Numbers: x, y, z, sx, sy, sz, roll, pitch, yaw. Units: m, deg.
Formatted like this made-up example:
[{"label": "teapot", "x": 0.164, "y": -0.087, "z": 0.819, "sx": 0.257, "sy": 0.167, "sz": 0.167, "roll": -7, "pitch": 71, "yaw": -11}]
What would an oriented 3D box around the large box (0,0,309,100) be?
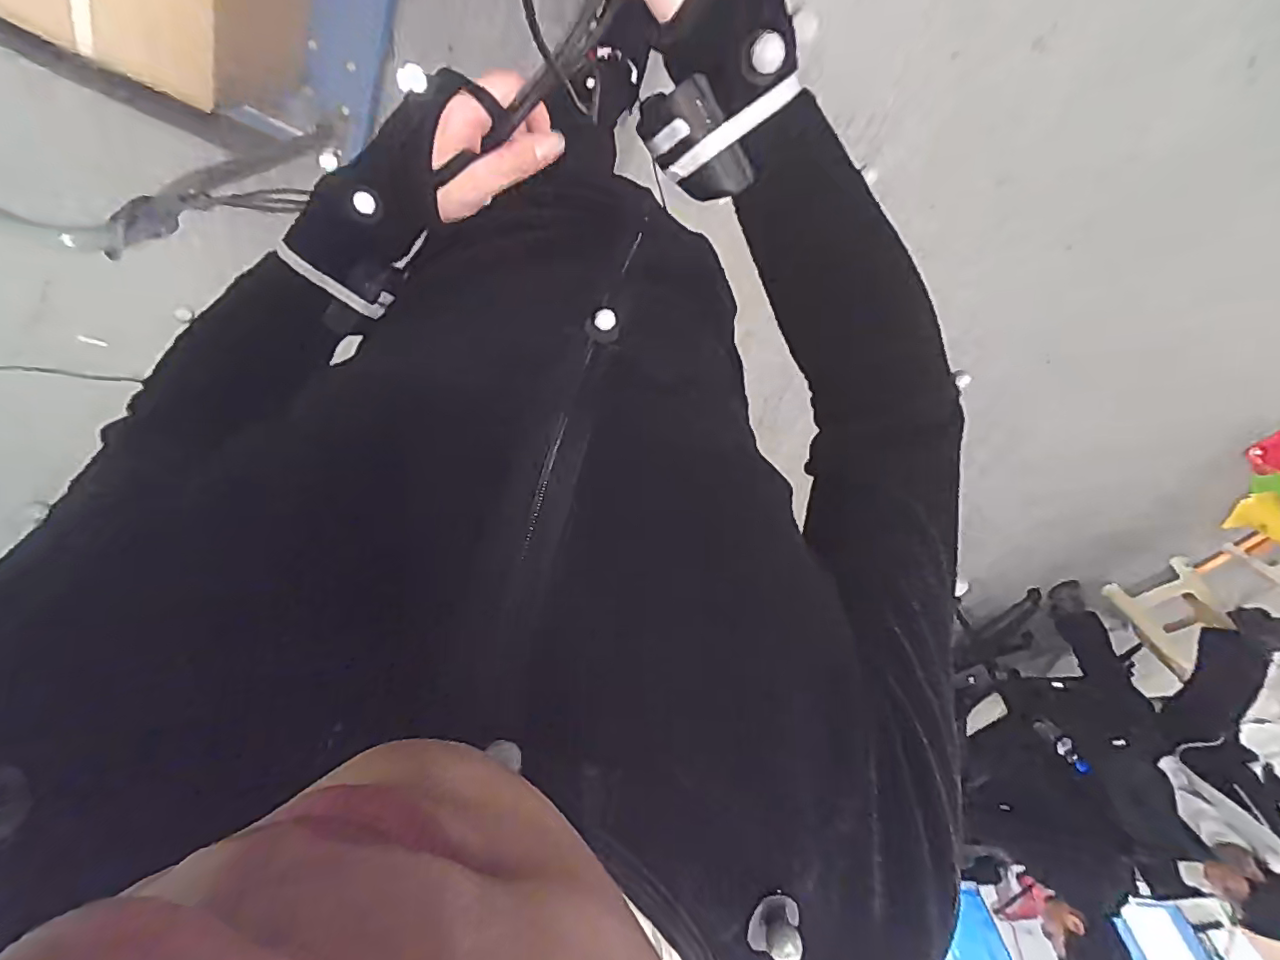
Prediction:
[{"label": "large box", "x": -0.689, "y": -0.845, "z": 0.763, "sx": 0.320, "sy": 0.320, "sz": 0.408, "roll": 20, "pitch": 127, "yaw": -19}]
